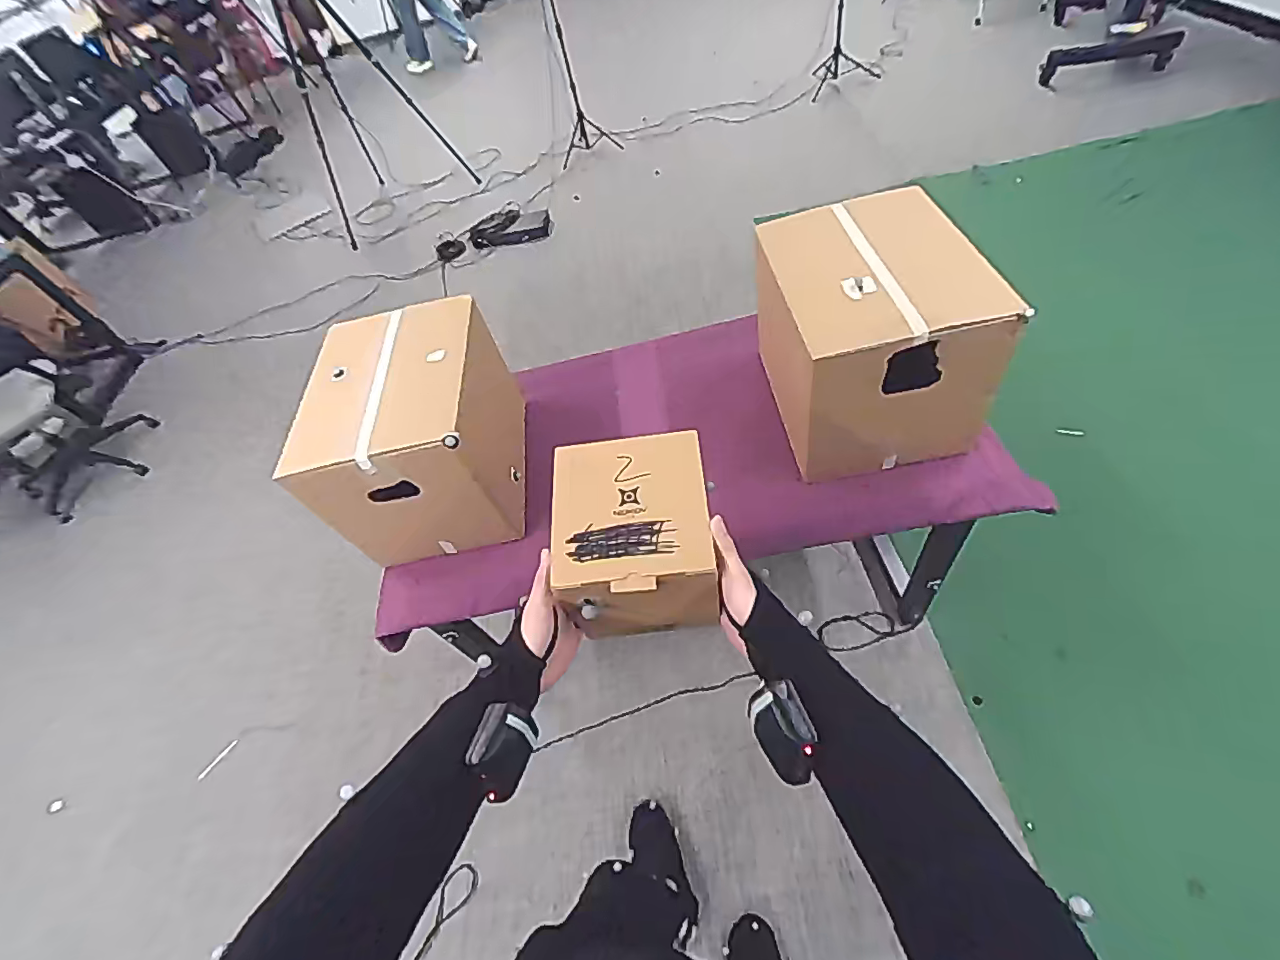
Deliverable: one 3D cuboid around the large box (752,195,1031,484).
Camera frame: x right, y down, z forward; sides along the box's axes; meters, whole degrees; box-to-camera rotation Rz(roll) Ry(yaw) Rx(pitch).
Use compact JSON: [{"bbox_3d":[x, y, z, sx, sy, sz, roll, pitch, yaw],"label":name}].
[{"bbox_3d":[0.412,-0.261,1.015,0.320,0.320,0.408,-12,52,6],"label":"large box"}]
